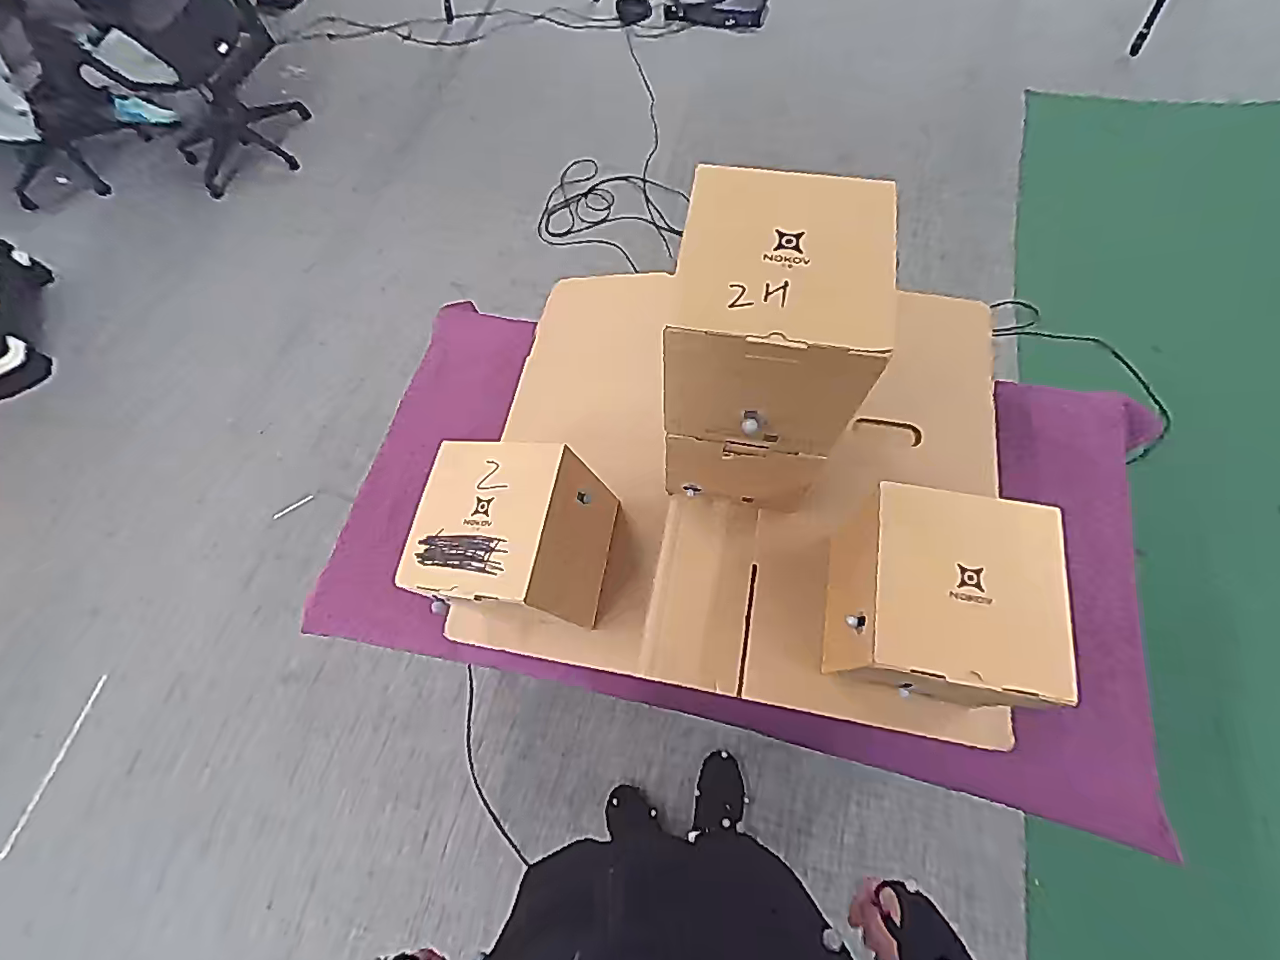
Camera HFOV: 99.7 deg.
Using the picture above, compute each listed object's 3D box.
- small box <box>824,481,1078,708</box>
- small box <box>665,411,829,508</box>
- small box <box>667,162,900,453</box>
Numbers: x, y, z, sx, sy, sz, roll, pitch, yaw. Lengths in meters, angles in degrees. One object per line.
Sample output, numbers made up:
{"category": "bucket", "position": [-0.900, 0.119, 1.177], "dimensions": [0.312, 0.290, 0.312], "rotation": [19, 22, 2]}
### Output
{"category": "small box", "position": [0.296, 0.123, 0.551], "dimensions": [0.168, 0.176, 0.179], "rotation": [9, 69, 7]}
{"category": "small box", "position": [0.125, -0.081, 0.641], "dimensions": [0.168, 0.176, 0.179], "rotation": [9, 68, 6]}
{"category": "small box", "position": [0.118, -0.146, 0.491], "dimensions": [0.168, 0.176, 0.179], "rotation": [9, 69, 7]}
